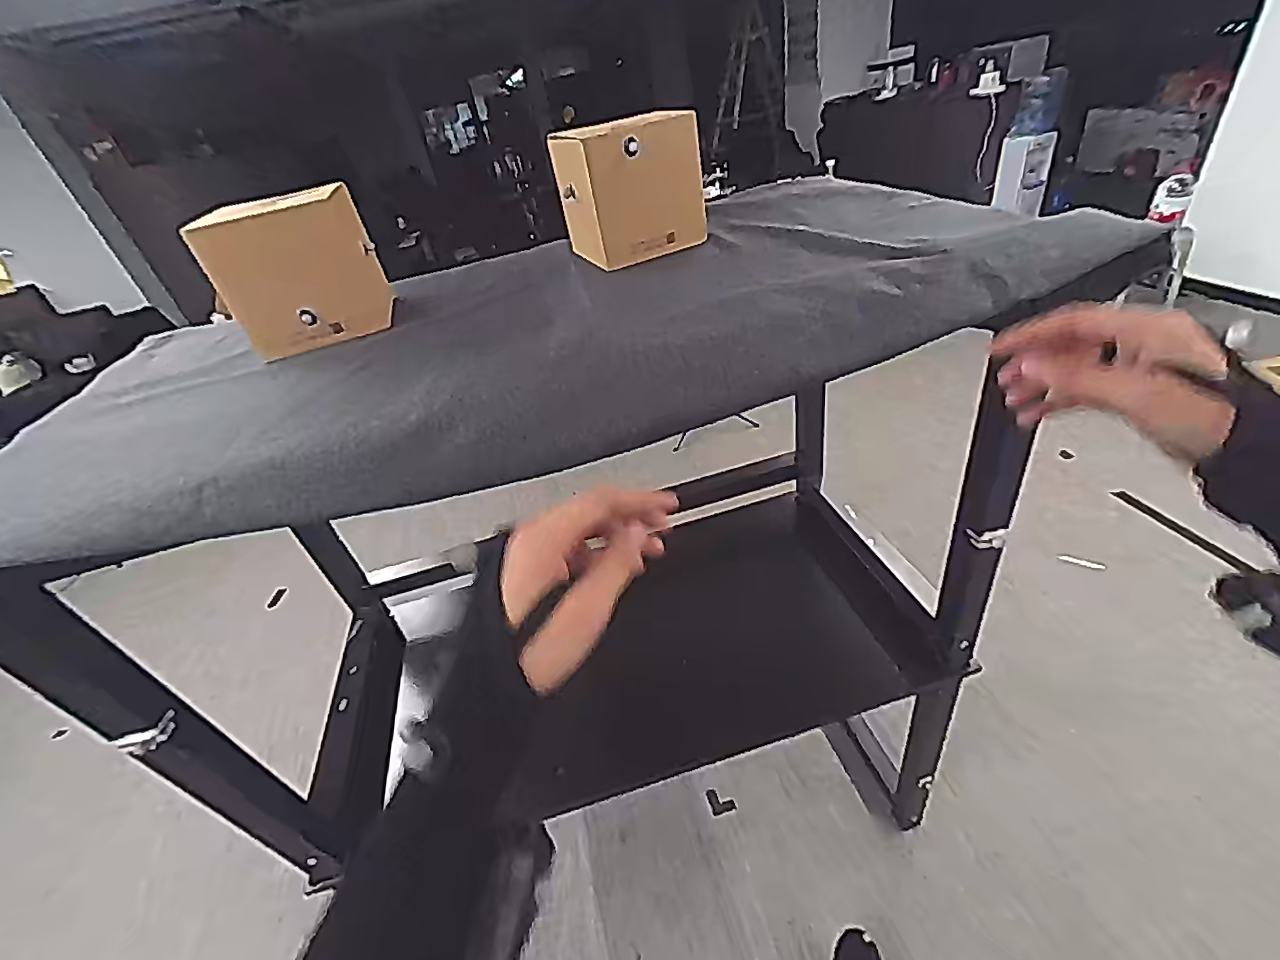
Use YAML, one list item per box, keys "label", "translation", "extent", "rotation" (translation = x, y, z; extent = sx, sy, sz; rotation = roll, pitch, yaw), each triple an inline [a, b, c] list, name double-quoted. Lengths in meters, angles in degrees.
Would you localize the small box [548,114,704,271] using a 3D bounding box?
- label: "small box"
  translation: [-0.020, -0.425, 0.804]
  extent: [0.168, 0.176, 0.179]
  rotation: [-23, 37, -13]
